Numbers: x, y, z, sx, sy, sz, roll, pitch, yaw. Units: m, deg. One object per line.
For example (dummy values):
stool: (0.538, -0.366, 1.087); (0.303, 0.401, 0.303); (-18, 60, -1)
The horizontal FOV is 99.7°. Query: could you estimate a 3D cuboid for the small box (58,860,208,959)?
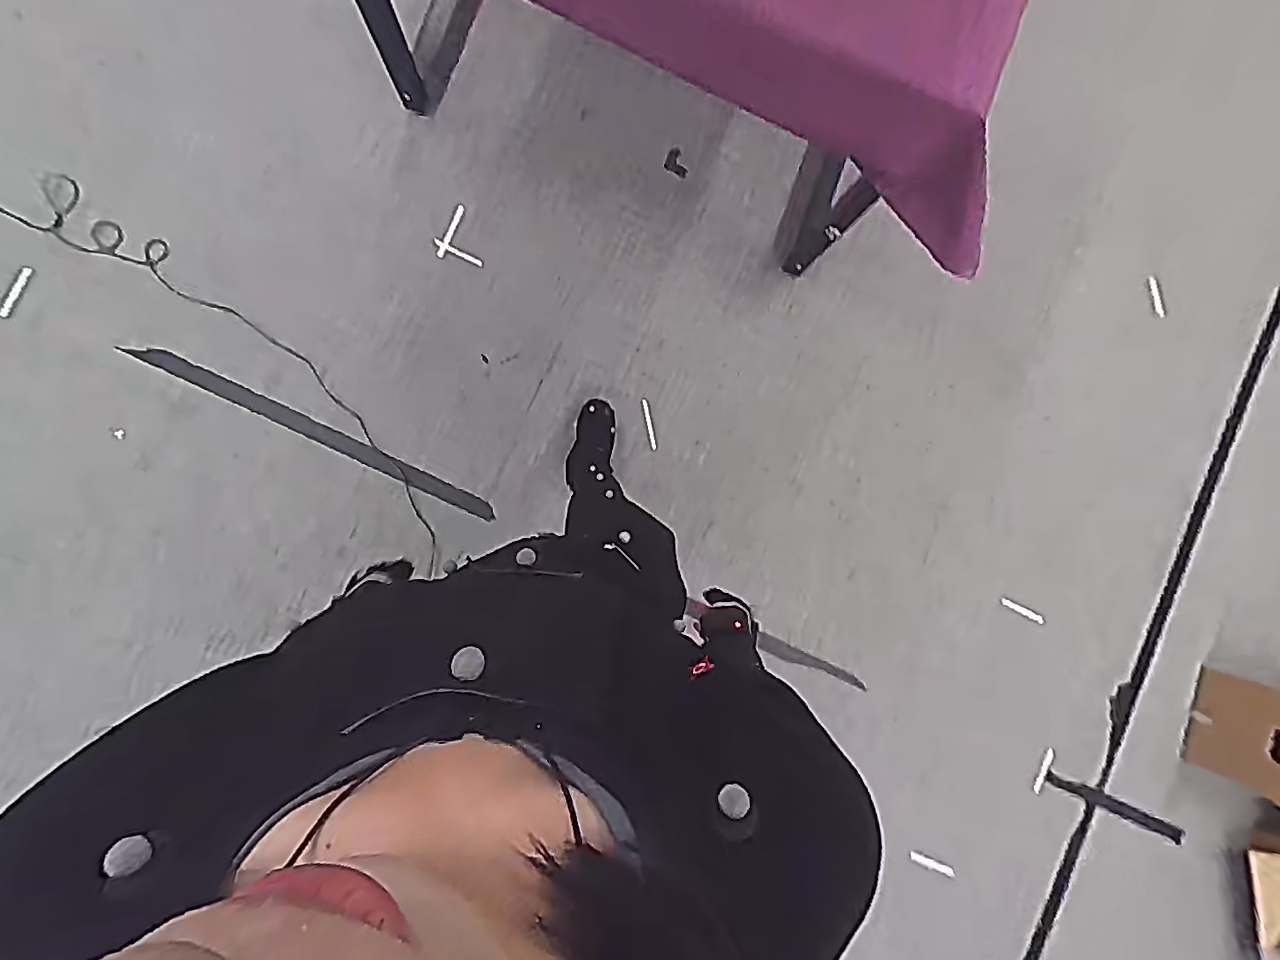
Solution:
small box: (-1.196, 1.070, 1.286); (0.168, 0.176, 0.179); (41, 85, -5)
